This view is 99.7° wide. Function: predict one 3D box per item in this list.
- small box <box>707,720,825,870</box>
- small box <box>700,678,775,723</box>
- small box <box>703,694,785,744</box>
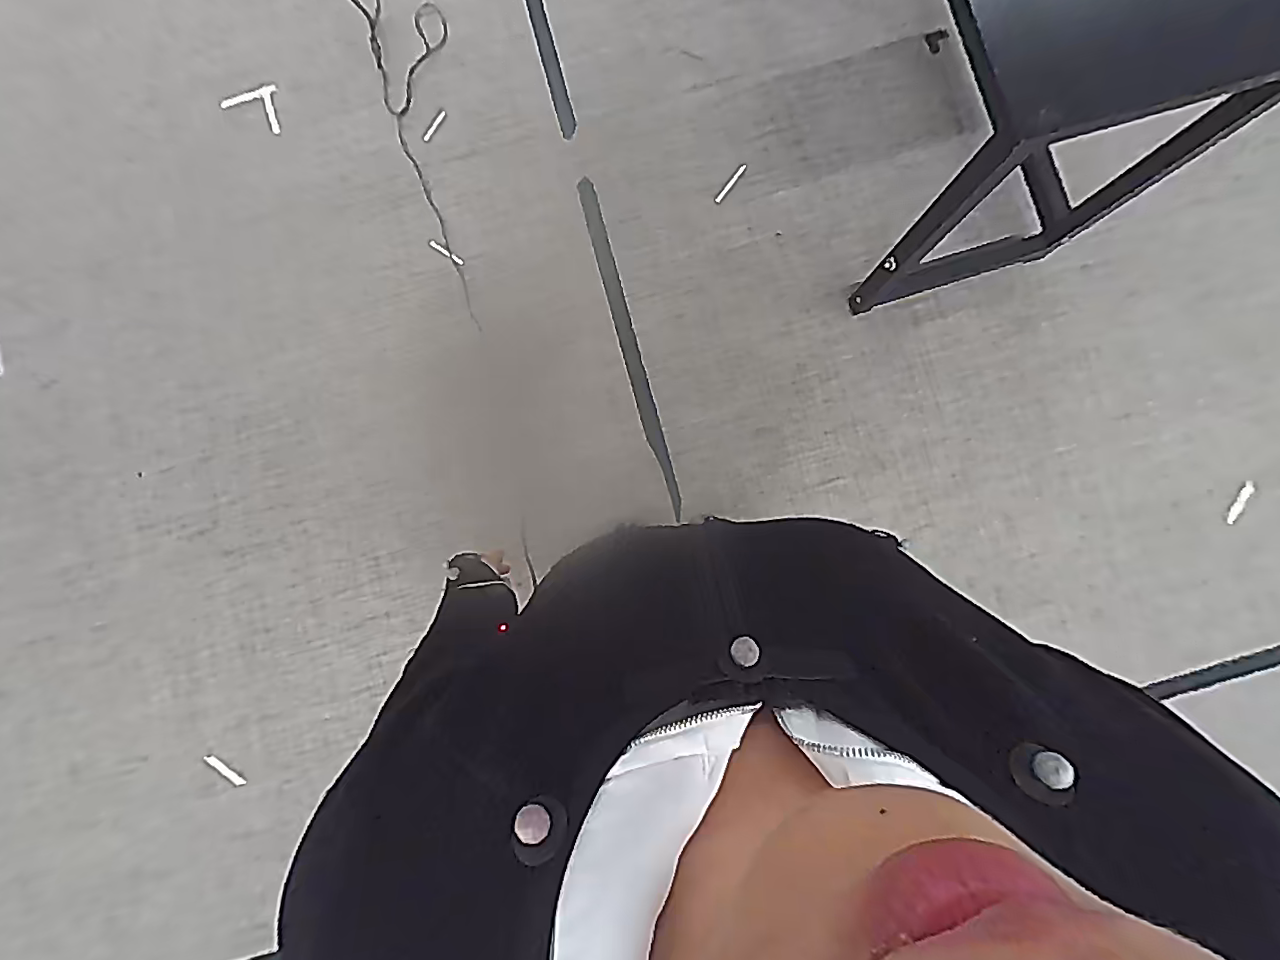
[{"bbox_3d":[0.237,0.604,1.057,0.168,0.176,0.179,-18,84,1],"label":"small box"},{"bbox_3d":[0.258,0.630,1.384,0.179,0.176,0.168,-16,85,0],"label":"small box"},{"bbox_3d":[0.249,0.616,1.221,0.168,0.176,0.179,-18,86,1],"label":"small box"}]
